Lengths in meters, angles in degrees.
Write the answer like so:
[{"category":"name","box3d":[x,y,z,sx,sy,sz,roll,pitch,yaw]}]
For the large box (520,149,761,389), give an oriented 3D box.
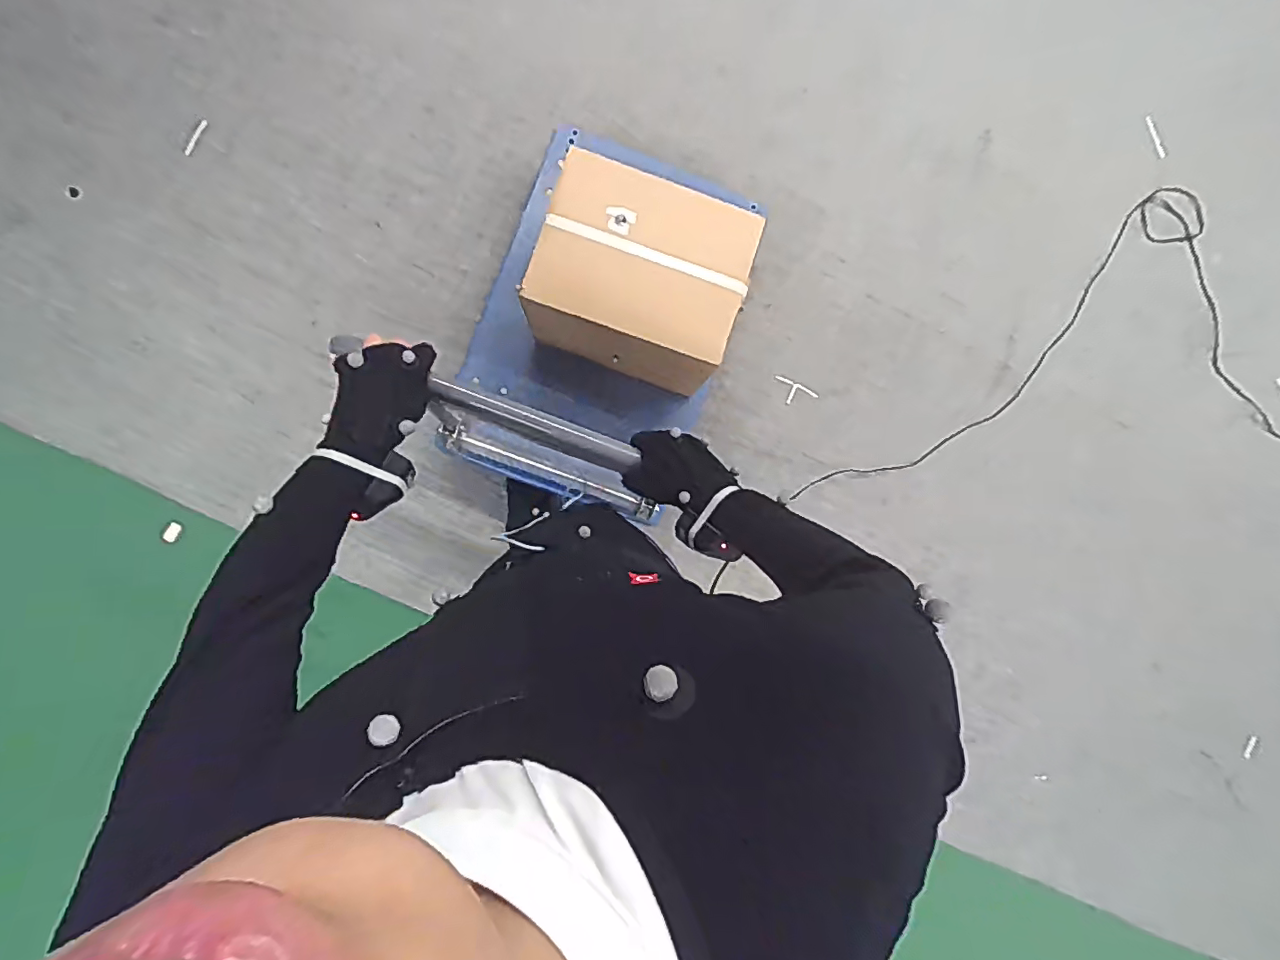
[{"category":"large box","box3d":[-0.002,-0.428,1.187,0.408,0.320,0.320,19,86,-3]}]
